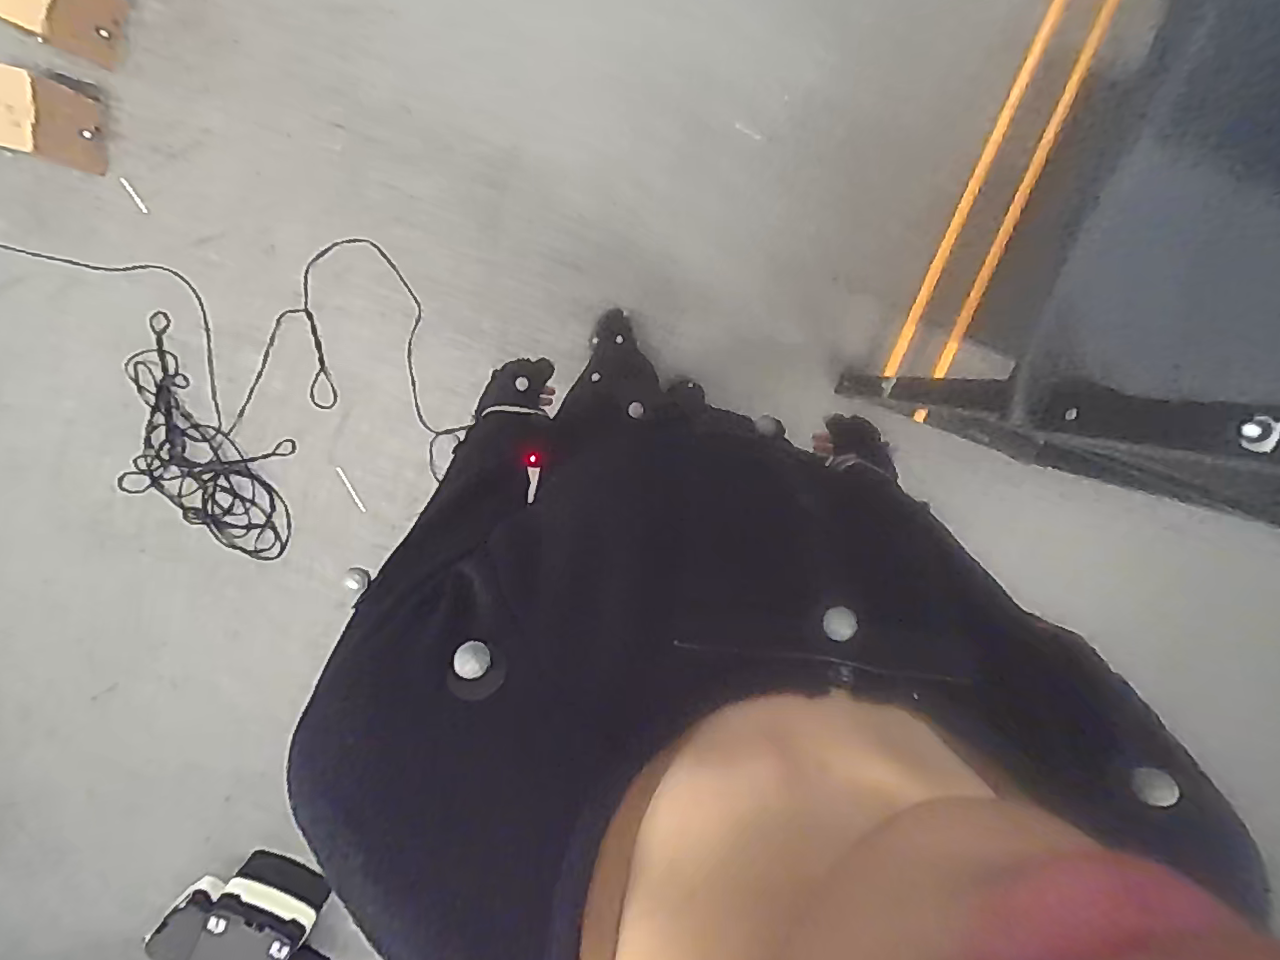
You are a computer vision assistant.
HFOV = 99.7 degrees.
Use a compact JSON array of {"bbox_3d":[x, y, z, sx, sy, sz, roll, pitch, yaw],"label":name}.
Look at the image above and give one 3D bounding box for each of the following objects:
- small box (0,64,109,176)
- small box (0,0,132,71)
[{"bbox_3d":[-1.395,-0.830,1.248,0.179,0.176,0.168,13,103,-2],"label":"small box"},{"bbox_3d":[-1.304,-1.060,1.201,0.179,0.176,0.168,20,101,-4],"label":"small box"}]
